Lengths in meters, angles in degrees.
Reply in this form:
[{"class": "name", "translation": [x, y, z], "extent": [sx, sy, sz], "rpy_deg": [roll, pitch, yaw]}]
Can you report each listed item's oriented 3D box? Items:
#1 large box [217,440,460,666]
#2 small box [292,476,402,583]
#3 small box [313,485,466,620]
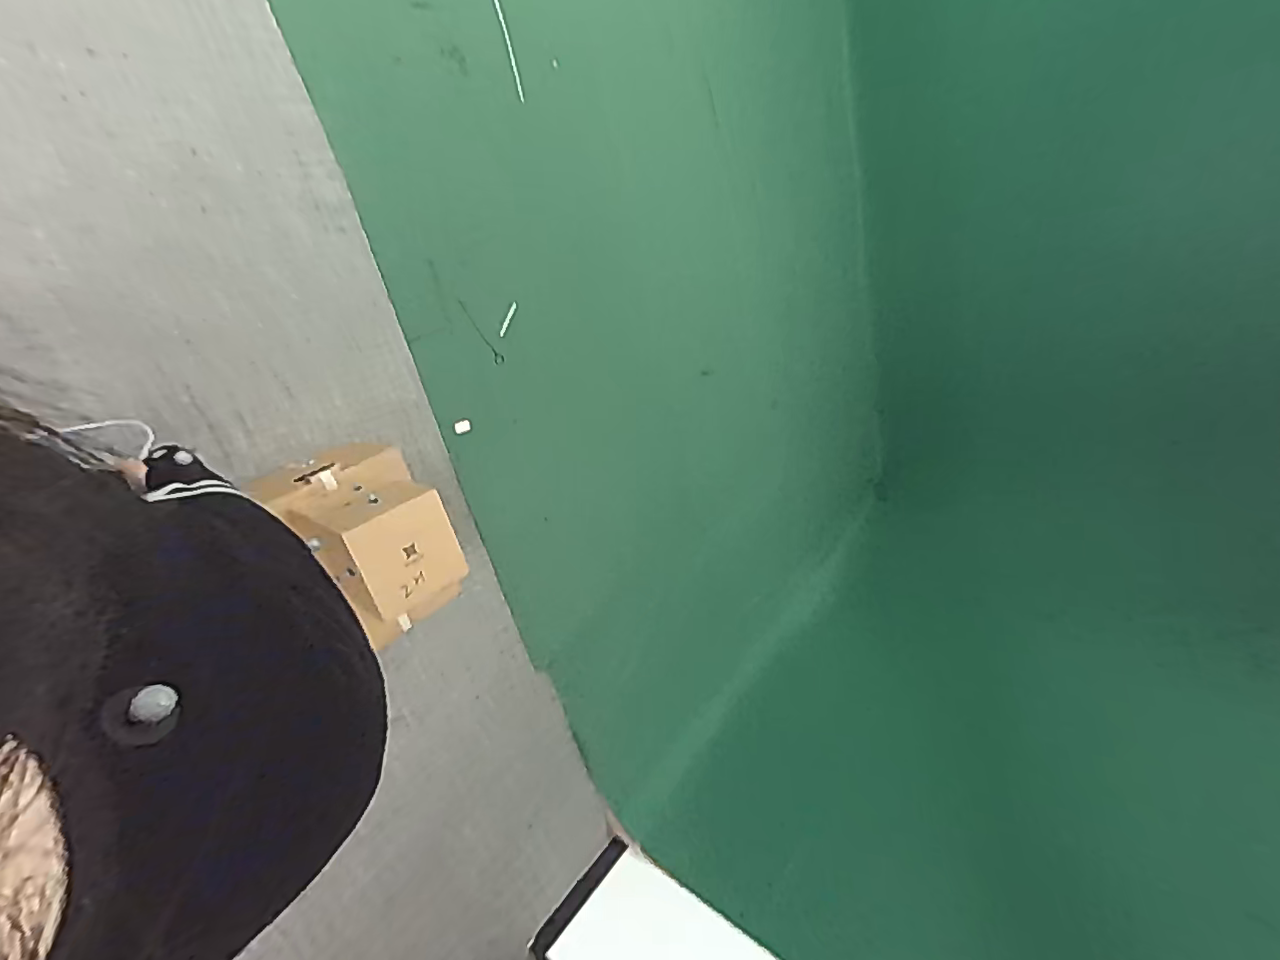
[{"class": "large box", "translation": [-0.708, 0.151, 1.292], "extent": [0.320, 0.320, 0.408], "rpy_deg": [-35, 120, -38]}, {"class": "small box", "translation": [-0.561, 0.099, 1.085], "extent": [0.168, 0.176, 0.179], "rpy_deg": [-32, 118, -39]}, {"class": "small box", "translation": [-0.448, 0.116, 0.966], "extent": [0.168, 0.176, 0.179], "rpy_deg": [-32, 118, -39]}]
